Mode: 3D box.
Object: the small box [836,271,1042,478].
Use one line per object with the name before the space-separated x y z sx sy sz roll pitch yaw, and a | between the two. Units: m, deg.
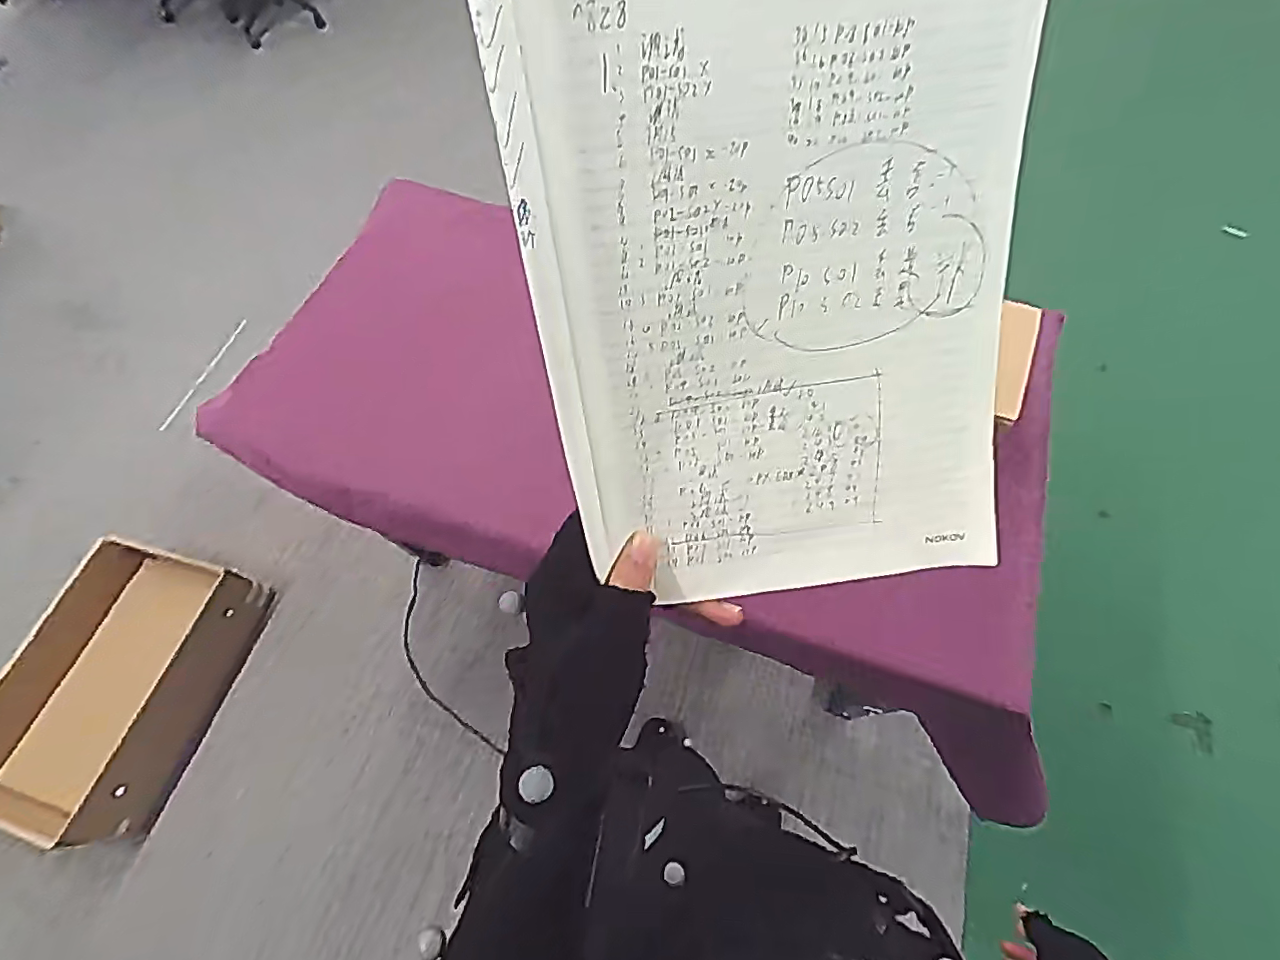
small box | 0.369 -0.127 0.698 0.168 0.176 0.179 23 69 15
